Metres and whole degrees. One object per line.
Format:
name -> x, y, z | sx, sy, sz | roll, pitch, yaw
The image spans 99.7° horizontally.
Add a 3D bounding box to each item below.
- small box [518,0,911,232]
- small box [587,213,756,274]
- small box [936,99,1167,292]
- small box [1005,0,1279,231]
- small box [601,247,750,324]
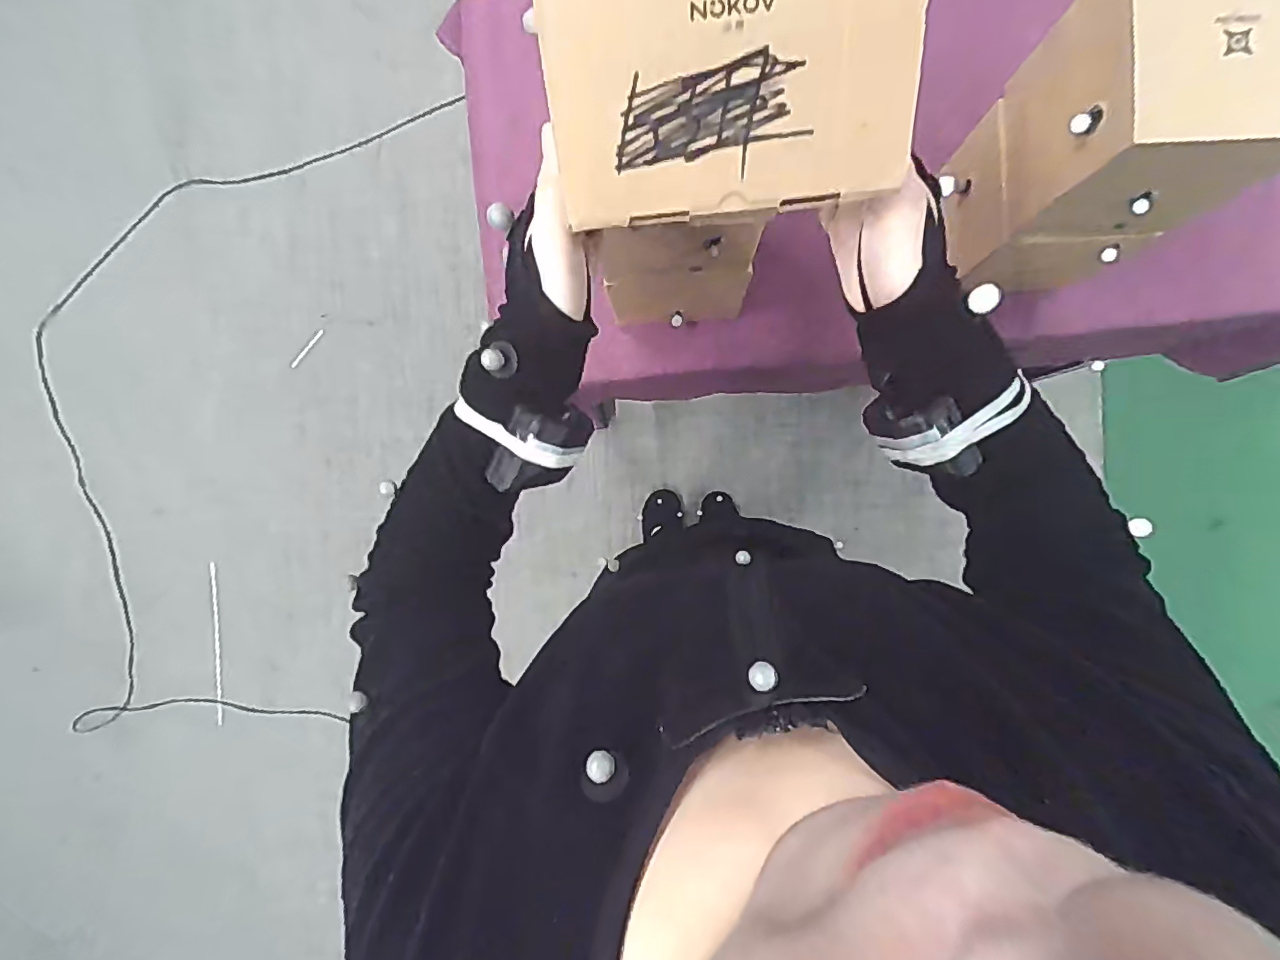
small box -> 0.031, -0.245, 0.290 | 0.168, 0.176, 0.179 | -5, 120, 3
small box -> 0.031, -0.320, 0.545 | 0.168, 0.176, 0.179 | -1, 88, 4
small box -> 0.492, -0.346, 0.677 | 0.179, 0.176, 0.168 | -2, 89, 4
small box -> 0.479, -0.354, 0.513 | 0.168, 0.176, 0.179 | 0, 89, 3
small box -> 0.042, -0.312, 0.708 | 0.179, 0.176, 0.168 | -3, 89, 3
